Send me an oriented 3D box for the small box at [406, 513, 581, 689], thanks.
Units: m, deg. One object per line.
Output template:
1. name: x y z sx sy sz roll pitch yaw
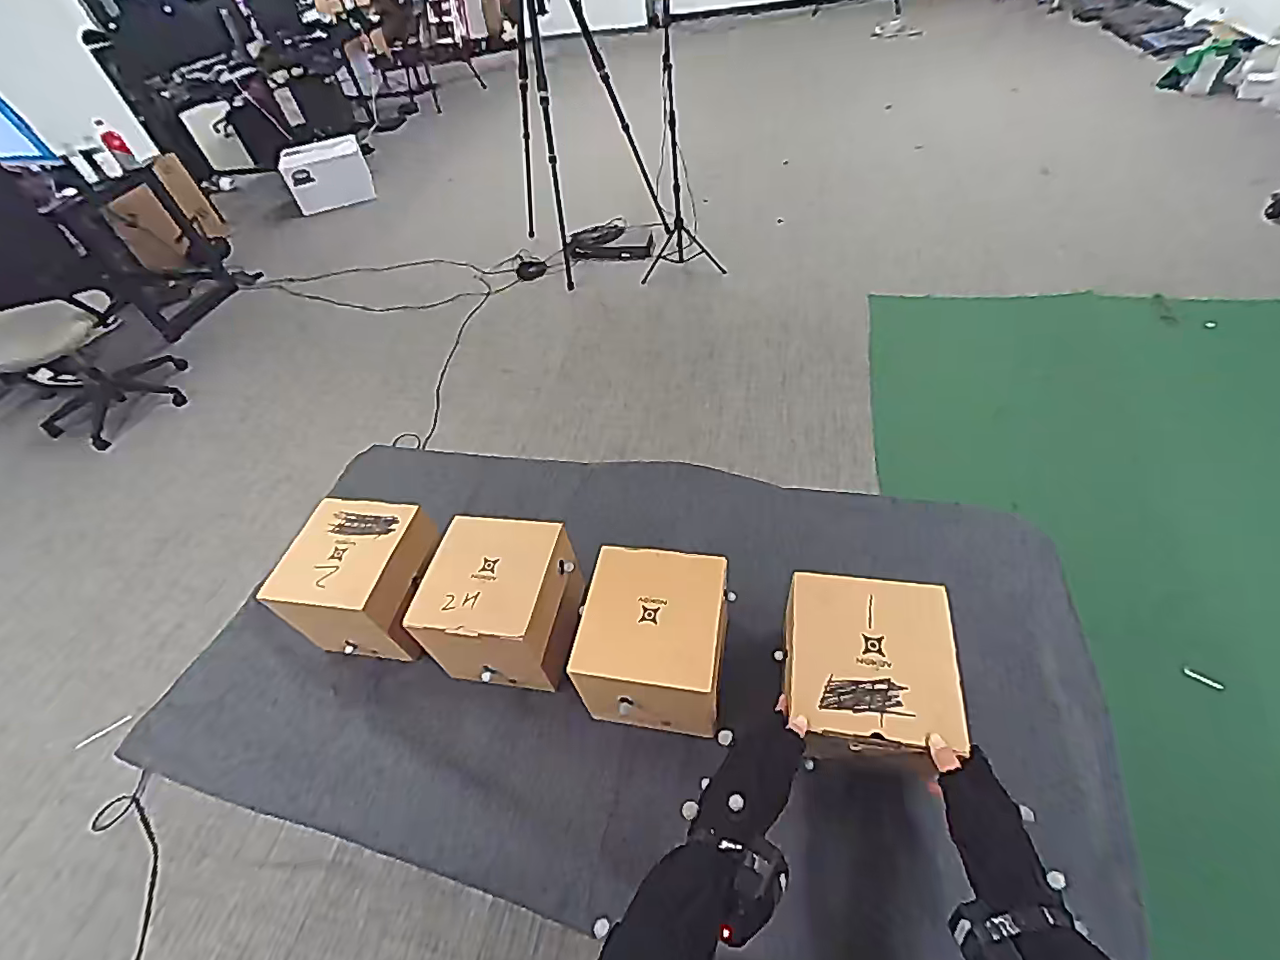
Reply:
1. small box: -0.191 0.171 0.768 0.168 0.176 0.179 3 49 12

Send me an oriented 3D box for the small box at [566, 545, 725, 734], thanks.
1. small box: 0.021 0.209 0.704 0.168 0.176 0.179 4 49 12
